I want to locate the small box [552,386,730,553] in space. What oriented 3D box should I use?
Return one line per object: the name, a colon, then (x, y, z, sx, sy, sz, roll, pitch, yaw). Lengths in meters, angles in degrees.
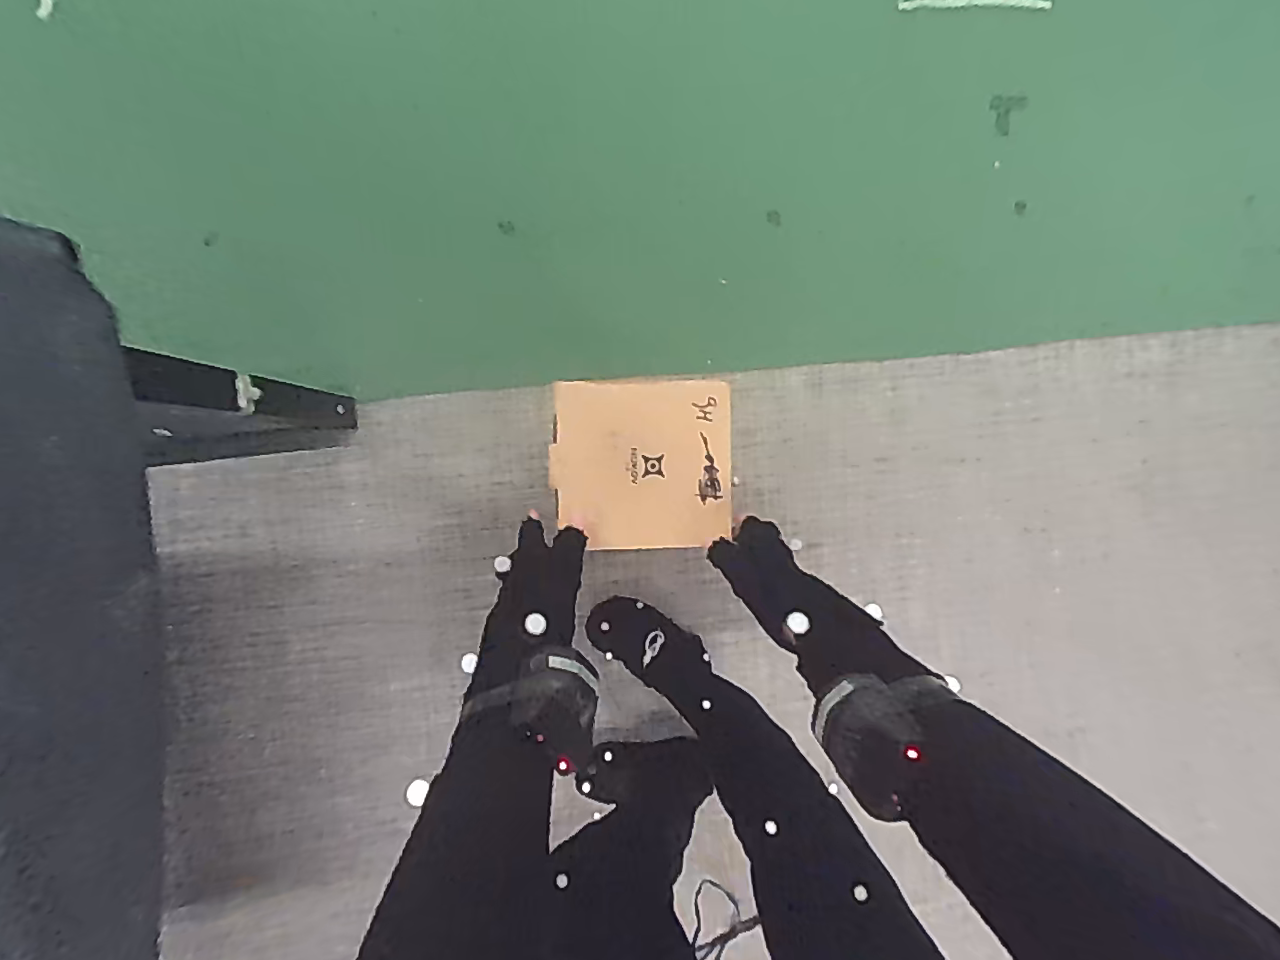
small box: (-0.001, -0.012, 0.610, 0.179, 0.176, 0.168, 0, 92, -3)
